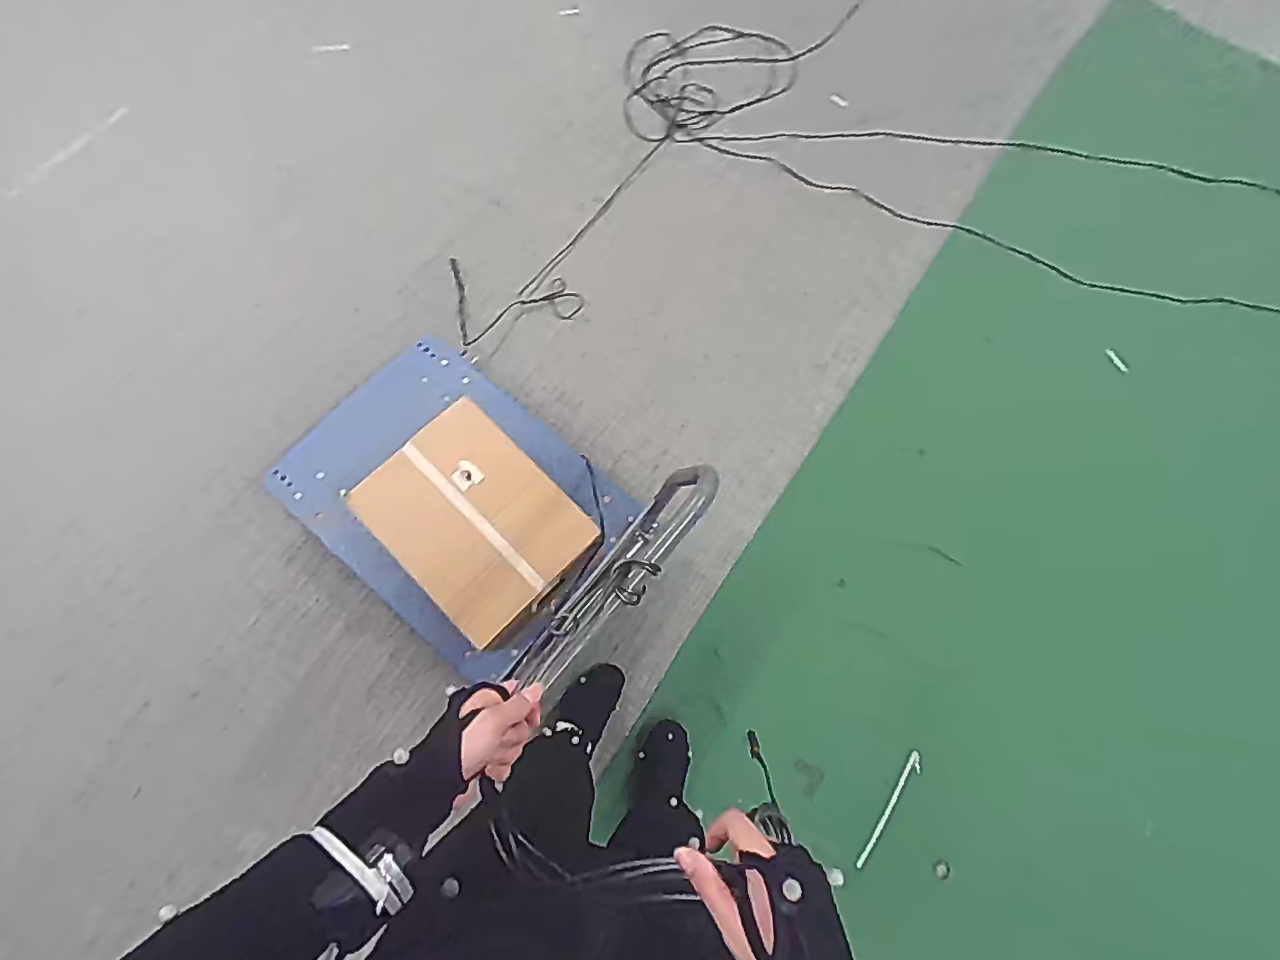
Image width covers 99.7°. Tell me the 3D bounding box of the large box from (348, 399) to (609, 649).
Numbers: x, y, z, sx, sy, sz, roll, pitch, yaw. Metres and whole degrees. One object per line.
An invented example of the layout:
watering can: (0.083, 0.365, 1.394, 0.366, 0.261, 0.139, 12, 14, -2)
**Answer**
large box: (-0.314, 0.109, 1.172, 0.408, 0.320, 0.320, 44, 77, 10)
